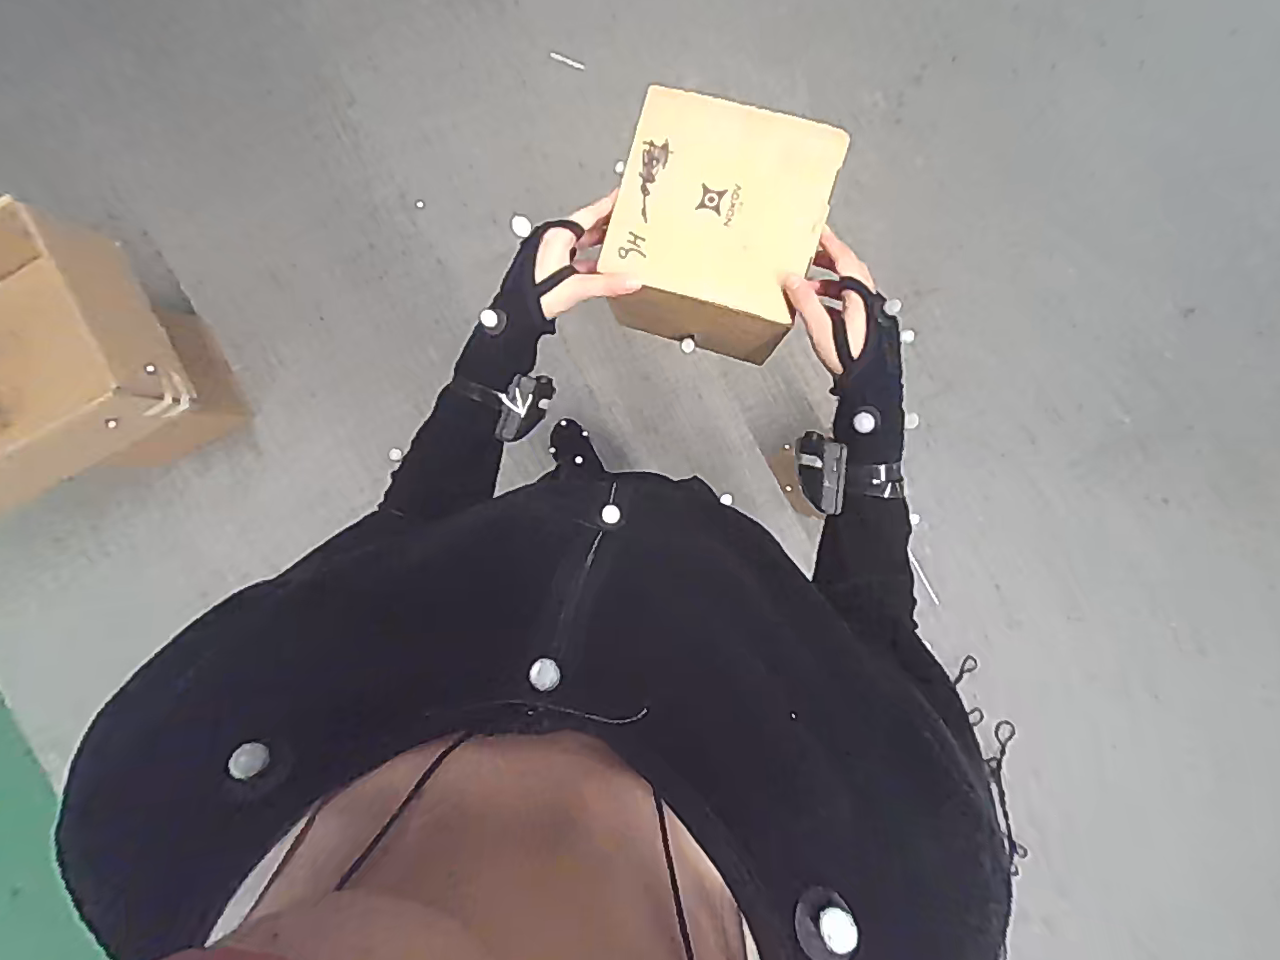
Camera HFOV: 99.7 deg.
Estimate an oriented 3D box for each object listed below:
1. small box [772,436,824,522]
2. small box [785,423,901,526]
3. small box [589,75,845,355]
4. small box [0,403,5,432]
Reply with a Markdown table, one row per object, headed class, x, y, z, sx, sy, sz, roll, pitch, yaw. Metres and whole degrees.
| class | x | y | z | sx | sy | sz | roll | pitch | yaw |
| --- | --- | --- | --- | --- | --- | --- | --- | --- | --- |
| small box | 0.465 | -0.009 | 1.409 | 0.168 | 0.176 | 0.179 | -28 | 91 | 3 |
| small box | 0.455 | -0.013 | 1.244 | 0.168 | 0.176 | 0.179 | -28 | 91 | 4 |
| small box | 0.066 | -0.234 | 0.526 | 0.179 | 0.176 | 0.168 | 17 | 90 | 3 |
| small box | -1.400 | -0.148 | 1.035 | 0.179 | 0.176 | 0.168 | -25 | 91 | 2 |
